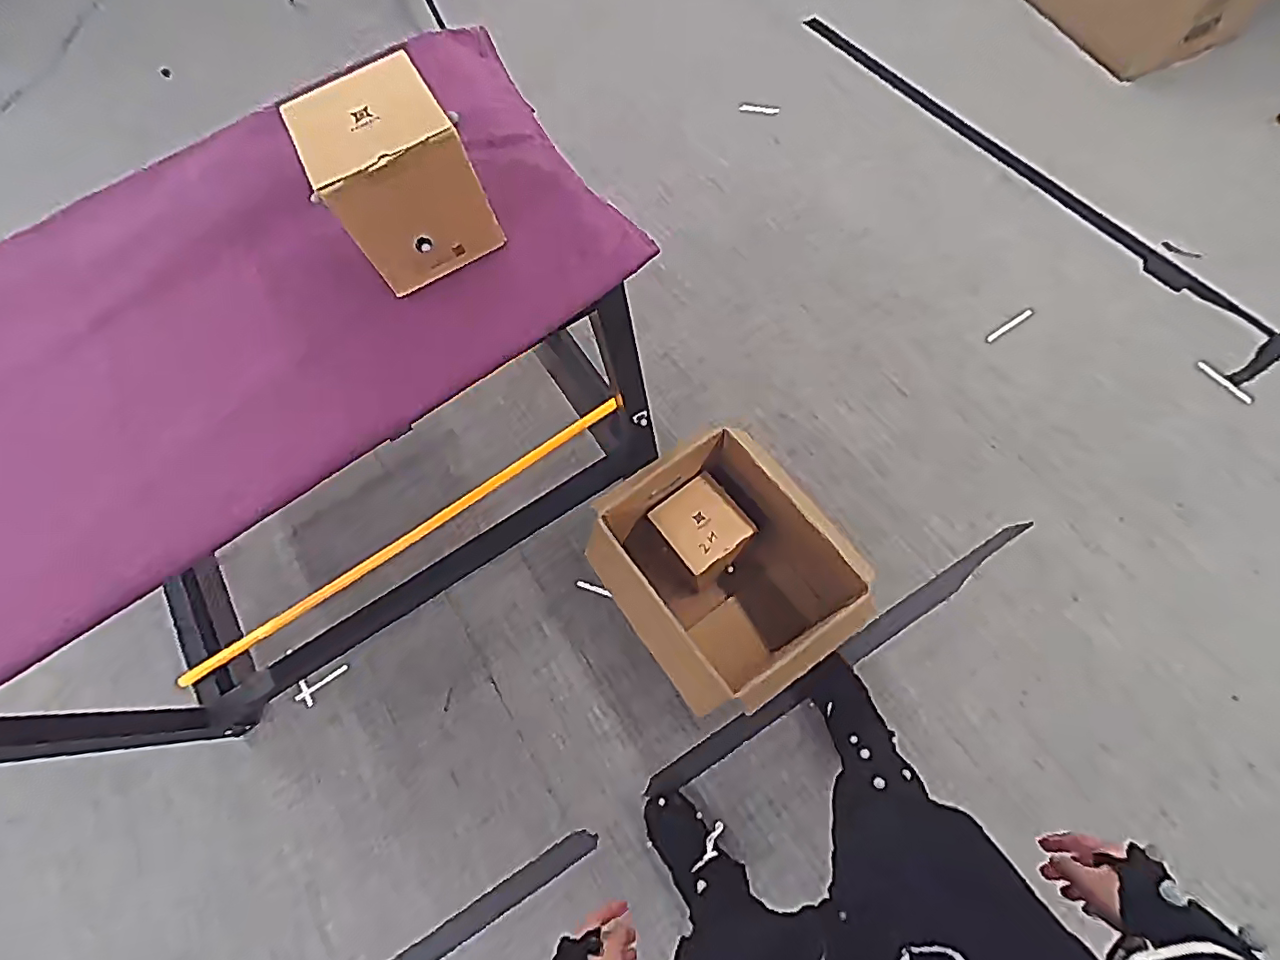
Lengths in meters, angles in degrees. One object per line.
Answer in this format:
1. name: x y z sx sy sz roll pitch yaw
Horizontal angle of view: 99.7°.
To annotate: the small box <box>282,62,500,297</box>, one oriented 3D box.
1. small box: -0.308 -0.375 0.694 0.168 0.176 0.179 -30 68 -5
